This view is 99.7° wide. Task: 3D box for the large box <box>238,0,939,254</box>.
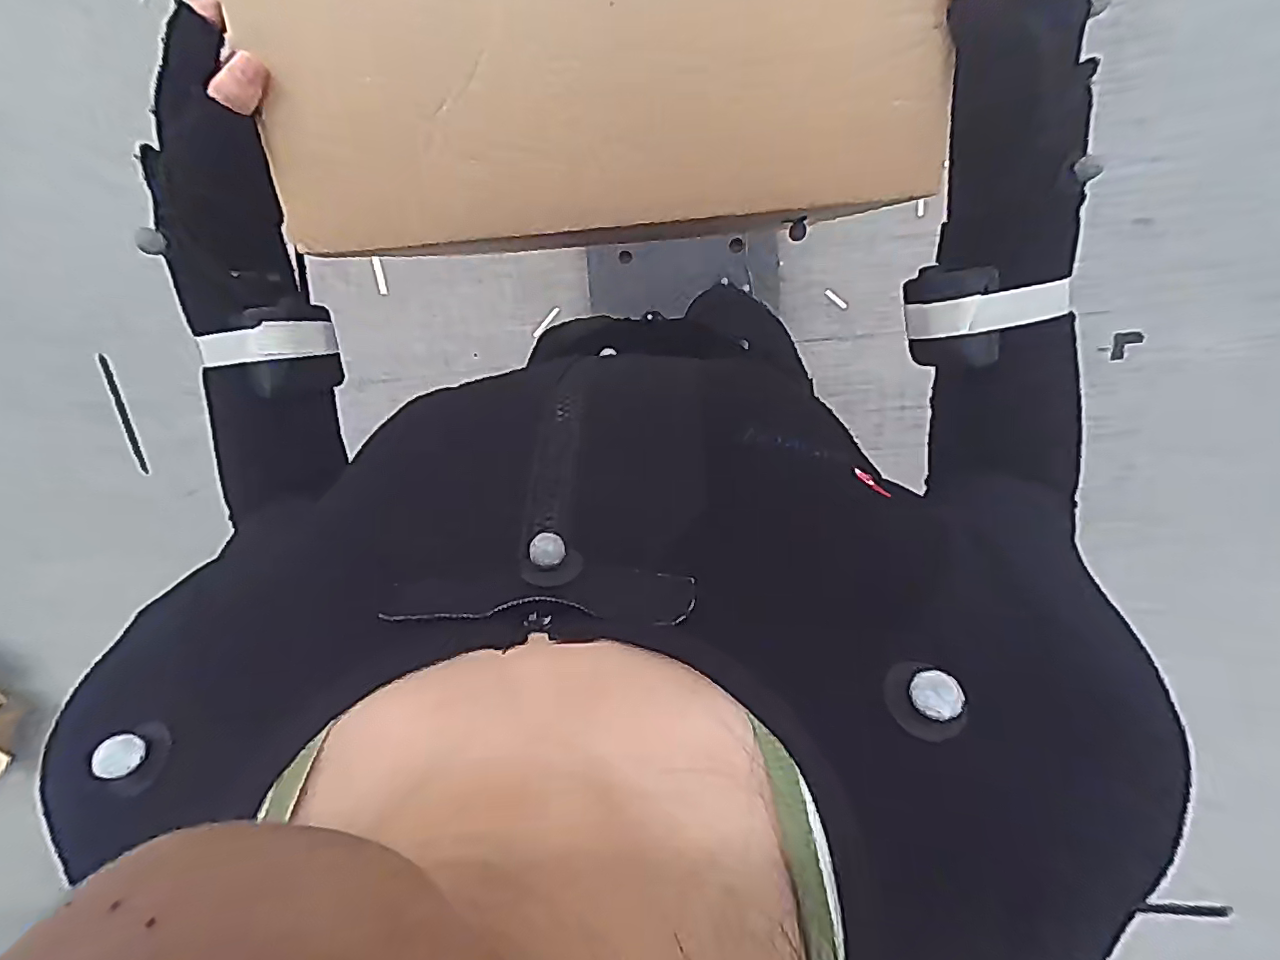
[{"bbox_3d":[-0.028,-0.365,0.428,0.408,0.320,0.320,-4,112,3],"label":"large box"}]
